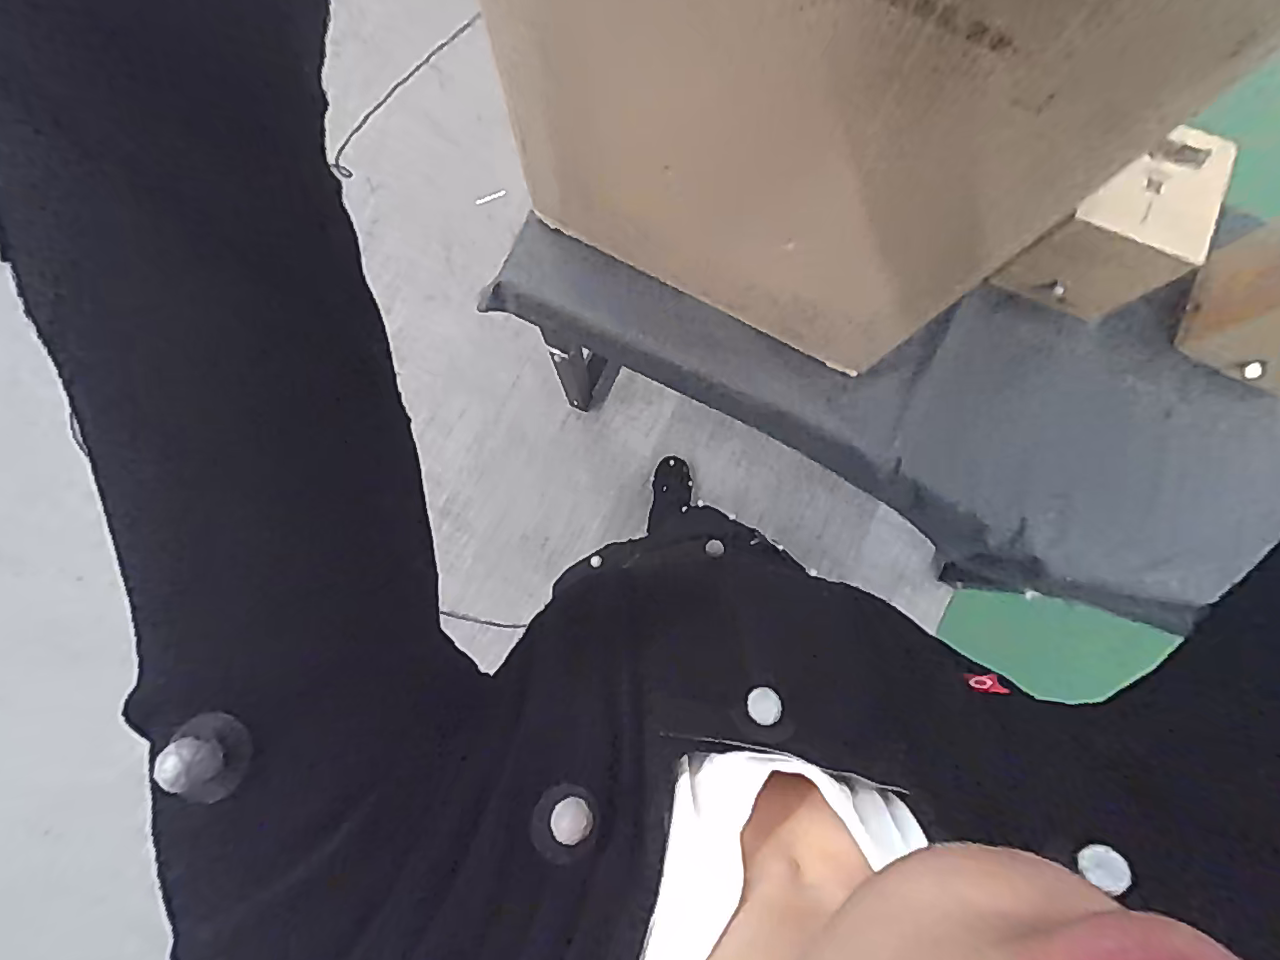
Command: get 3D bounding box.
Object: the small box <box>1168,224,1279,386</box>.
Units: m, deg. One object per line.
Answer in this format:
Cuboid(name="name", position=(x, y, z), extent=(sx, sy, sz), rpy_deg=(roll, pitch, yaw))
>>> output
Cuboid(name="small box", position=(0.910, -0.247, 0.746), extent=(0.179, 0.176, 0.168), rpy_deg=(26, 82, 2))
